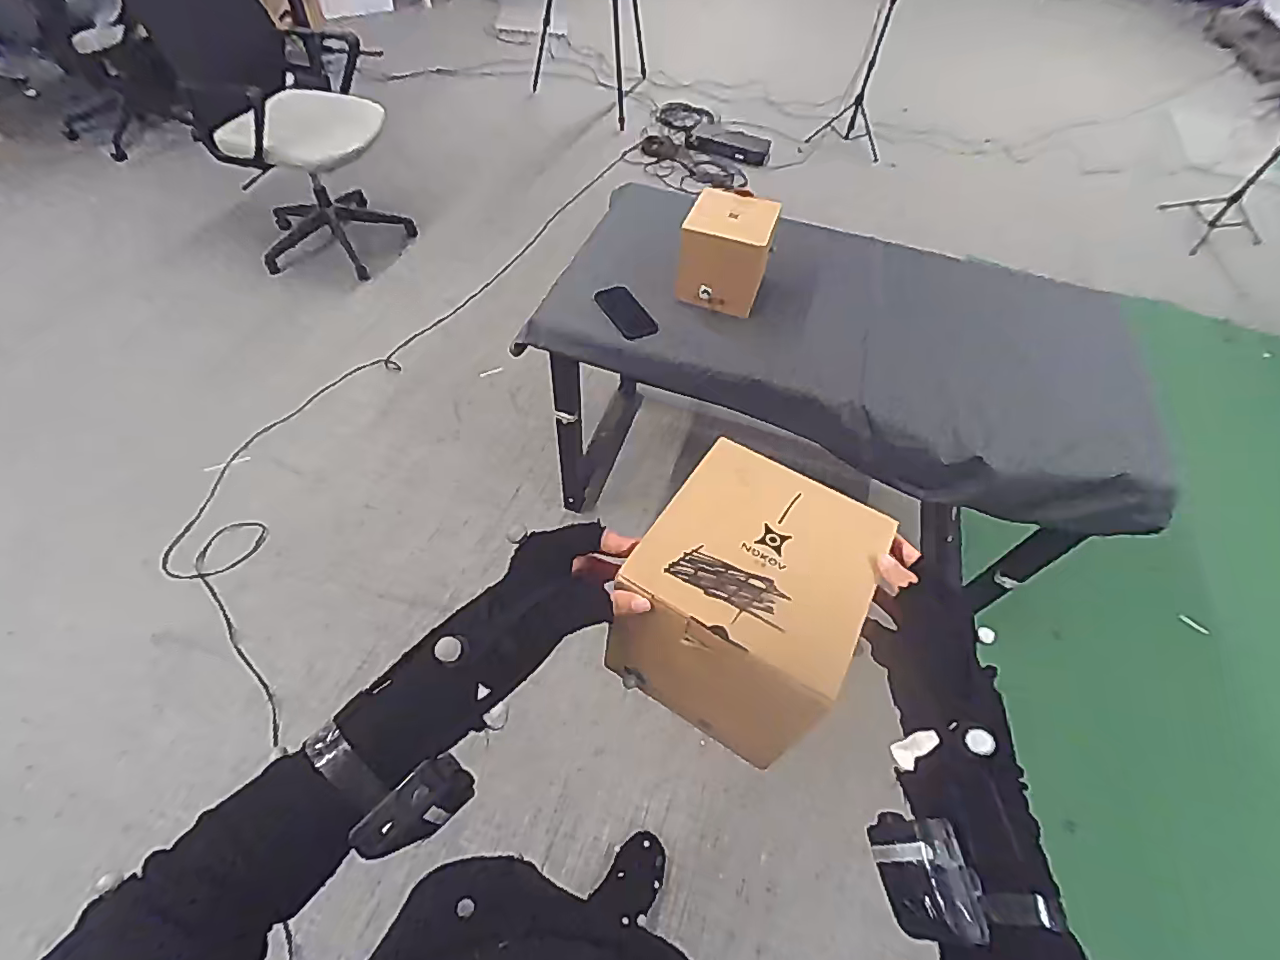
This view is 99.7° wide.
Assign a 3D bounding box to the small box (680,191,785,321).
[{"bbox_3d":[0.187,-0.464,1.124,0.168,0.176,0.179,17,56,9],"label":"small box"}]
